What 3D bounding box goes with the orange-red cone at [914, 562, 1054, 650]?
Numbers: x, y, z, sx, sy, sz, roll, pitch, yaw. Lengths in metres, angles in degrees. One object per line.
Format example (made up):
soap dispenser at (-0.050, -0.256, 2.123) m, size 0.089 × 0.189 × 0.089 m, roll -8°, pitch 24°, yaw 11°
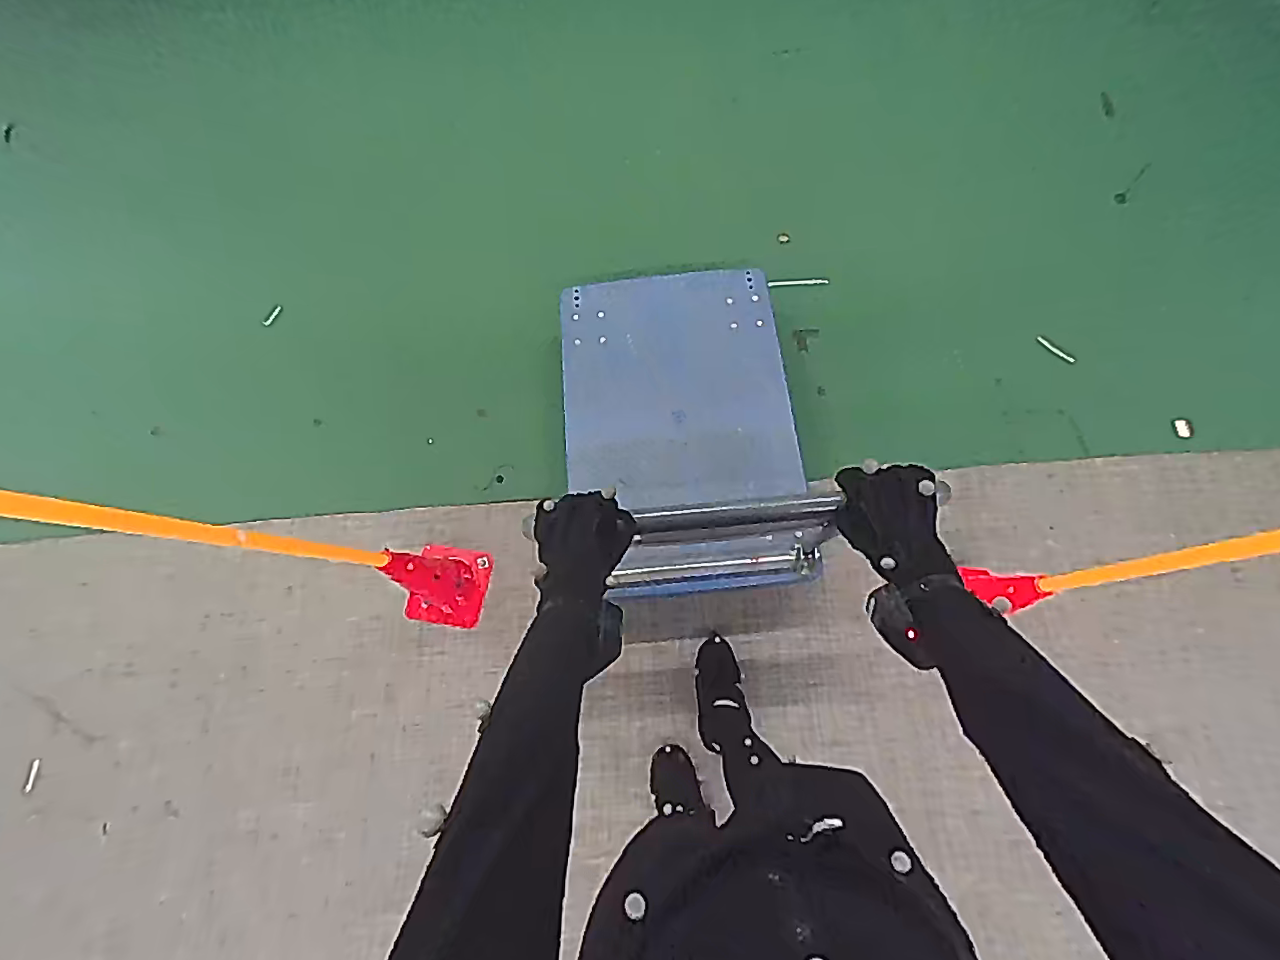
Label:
orange-red cone at (0.772, 0.257, 1.180) m, size 0.198 × 0.360 × 0.199 m, roll 6°, pitch 72°, yaw 6°
